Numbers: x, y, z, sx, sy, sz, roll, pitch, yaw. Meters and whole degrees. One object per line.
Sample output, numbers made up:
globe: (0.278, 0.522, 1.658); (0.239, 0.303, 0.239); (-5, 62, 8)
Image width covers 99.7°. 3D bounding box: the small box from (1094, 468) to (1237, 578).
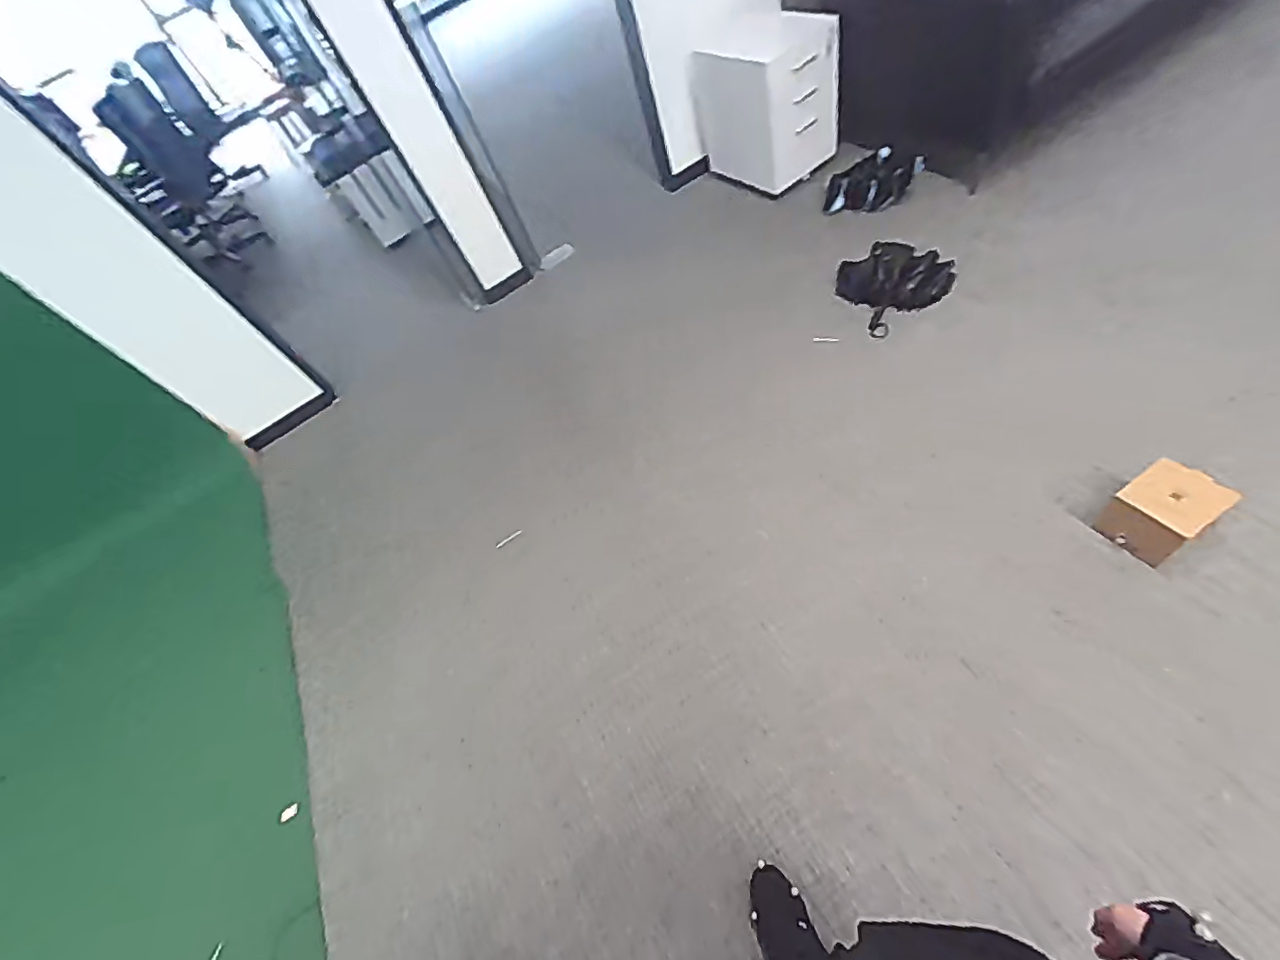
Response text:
small box: (1.292, 0.110, 1.347); (0.179, 0.176, 0.168); (-36, 50, -6)
